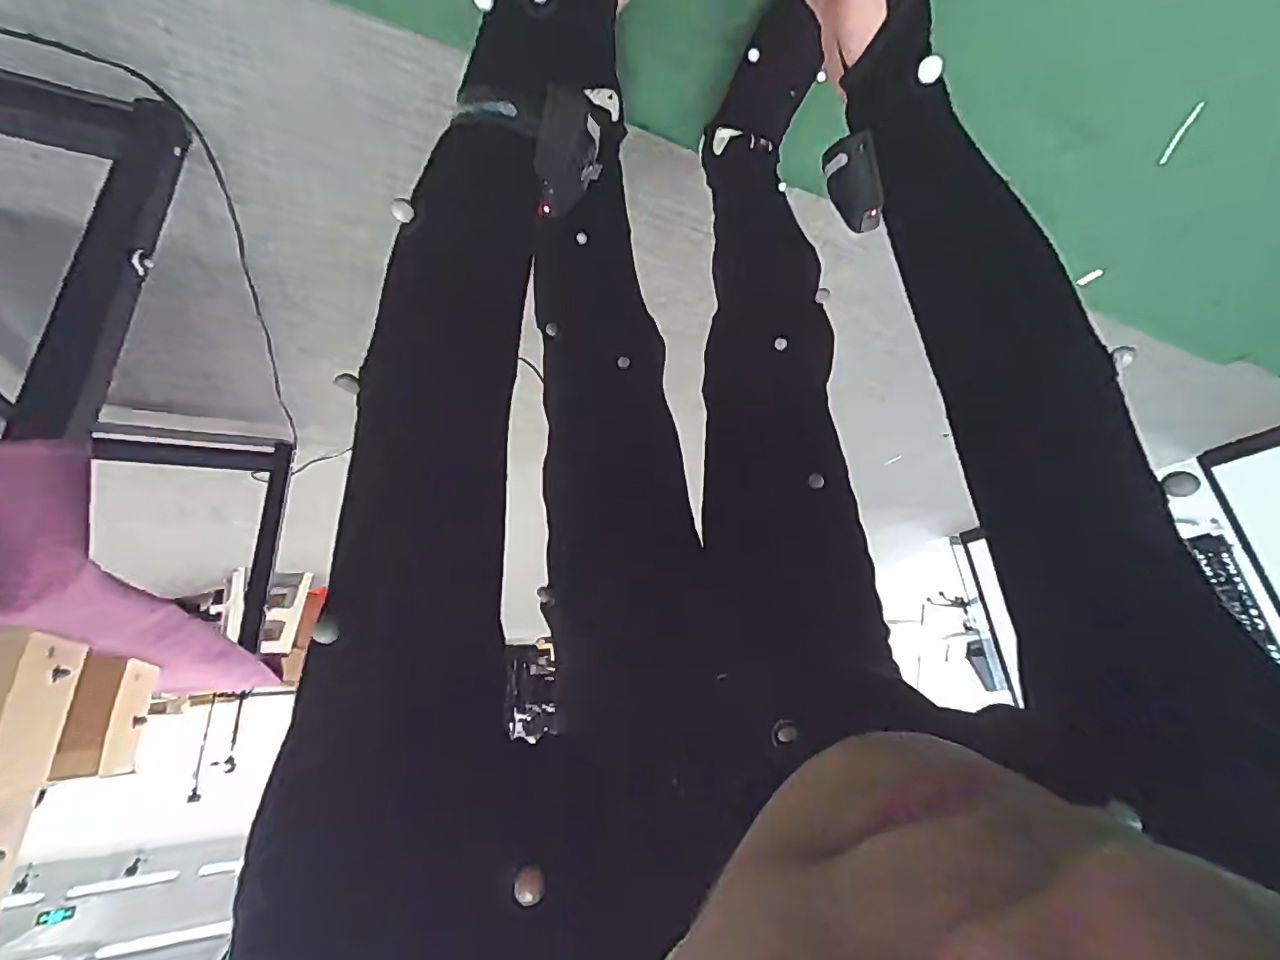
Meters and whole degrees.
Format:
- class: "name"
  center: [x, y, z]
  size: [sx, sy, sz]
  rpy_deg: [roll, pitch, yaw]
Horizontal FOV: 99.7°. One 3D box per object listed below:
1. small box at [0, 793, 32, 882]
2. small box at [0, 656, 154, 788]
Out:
- class: "small box"
  center: [-0.733, 0.393, 0.490]
  size: [0.179, 0.176, 0.168]
  rpy_deg: [7, 156, -25]
- class: "small box"
  center: [-0.883, 0.362, 0.823]
  size: [0.179, 0.176, 0.168]
  rpy_deg: [9, 154, -25]
